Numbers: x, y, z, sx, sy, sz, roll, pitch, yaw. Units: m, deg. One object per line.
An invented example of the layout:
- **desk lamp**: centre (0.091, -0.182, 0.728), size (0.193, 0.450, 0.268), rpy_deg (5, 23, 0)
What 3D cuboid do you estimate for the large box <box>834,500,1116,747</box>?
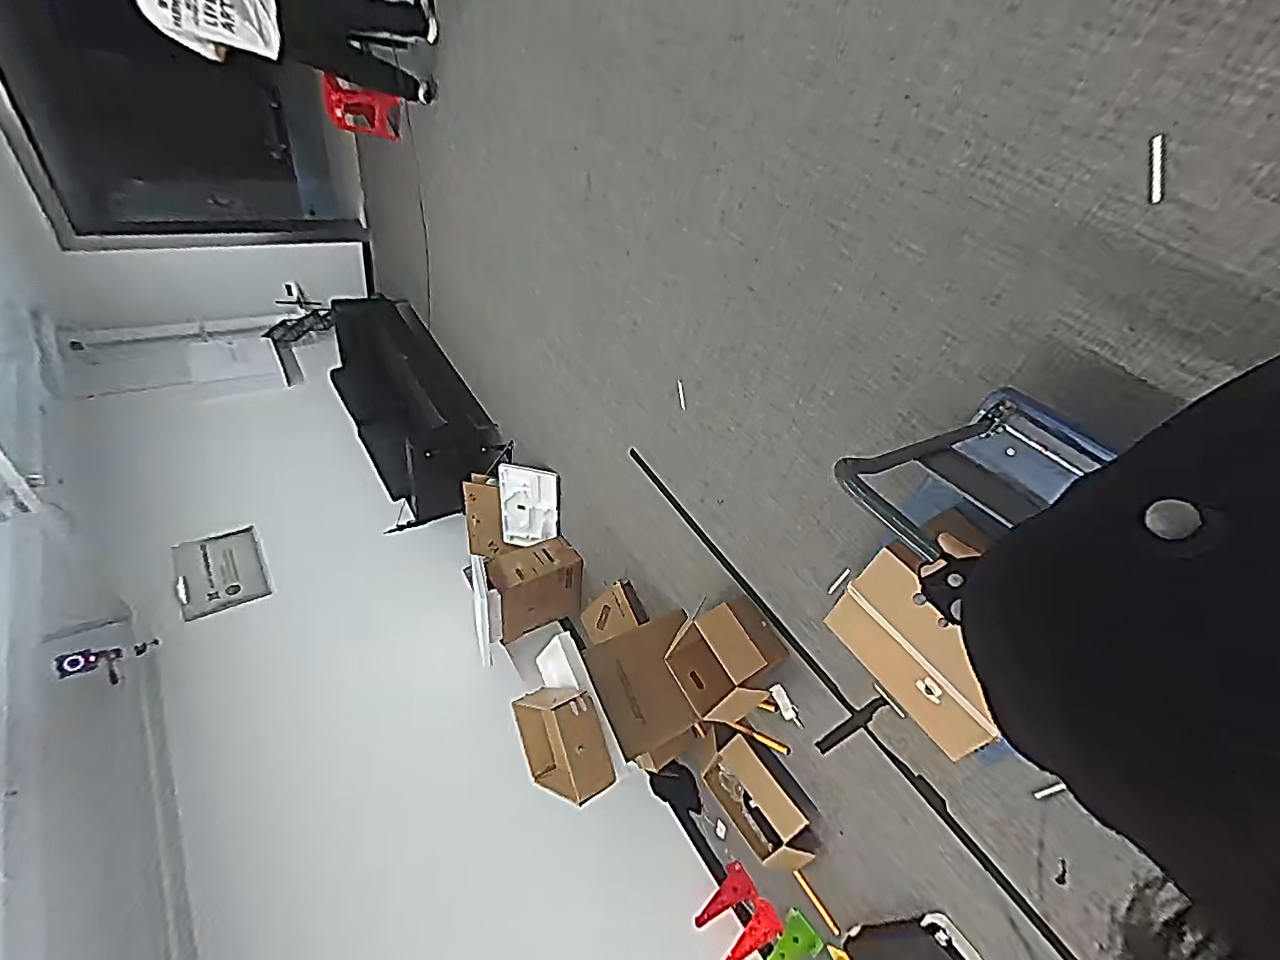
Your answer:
- **large box**: centre (0.758, 0.315, 1.270), size (0.408, 0.320, 0.320), rpy_deg (49, 141, 31)
